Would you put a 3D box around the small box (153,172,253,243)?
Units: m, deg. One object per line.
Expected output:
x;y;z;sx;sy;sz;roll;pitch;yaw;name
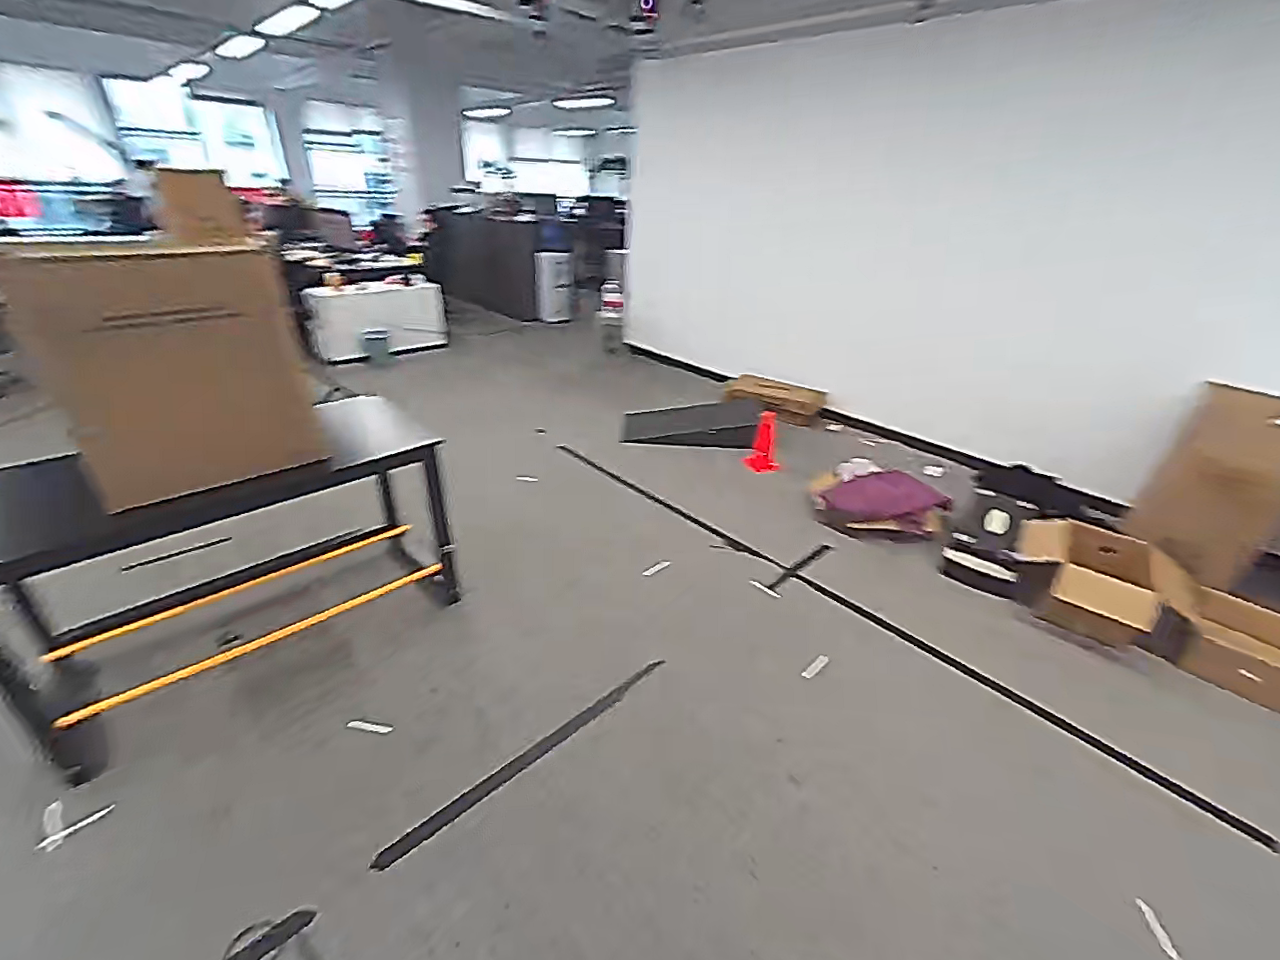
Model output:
-1.220;-0.760;1.514;0.168;0.176;0.179;-24;36;-38;small box
